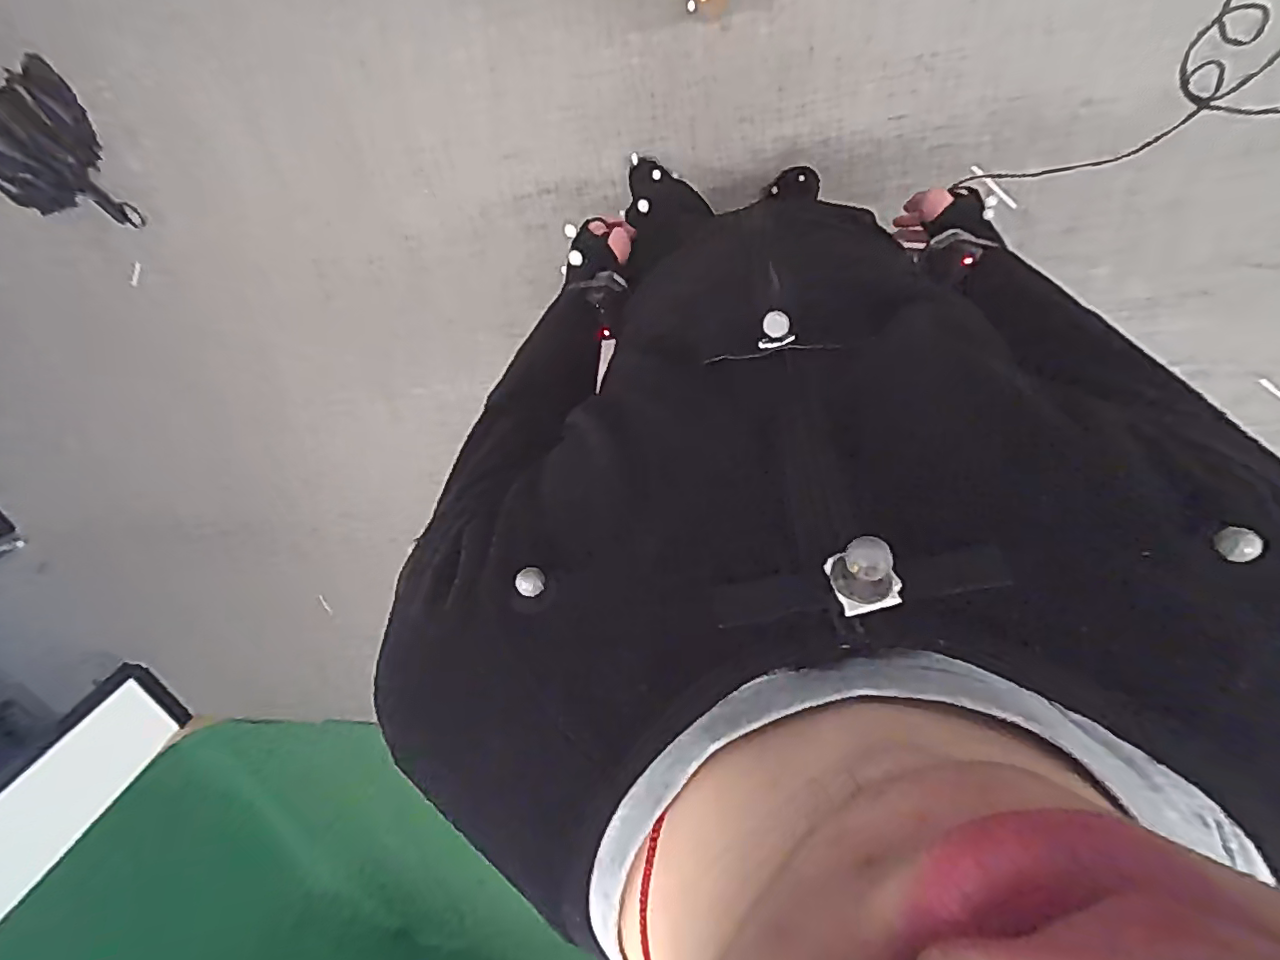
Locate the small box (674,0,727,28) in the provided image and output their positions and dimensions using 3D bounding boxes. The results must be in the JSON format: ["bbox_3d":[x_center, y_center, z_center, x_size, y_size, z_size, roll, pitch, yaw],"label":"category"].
[{"bbox_3d":[0.103,-0.903,0.893,0.168,0.176,0.179,40,122,-15],"label":"small box"}]
